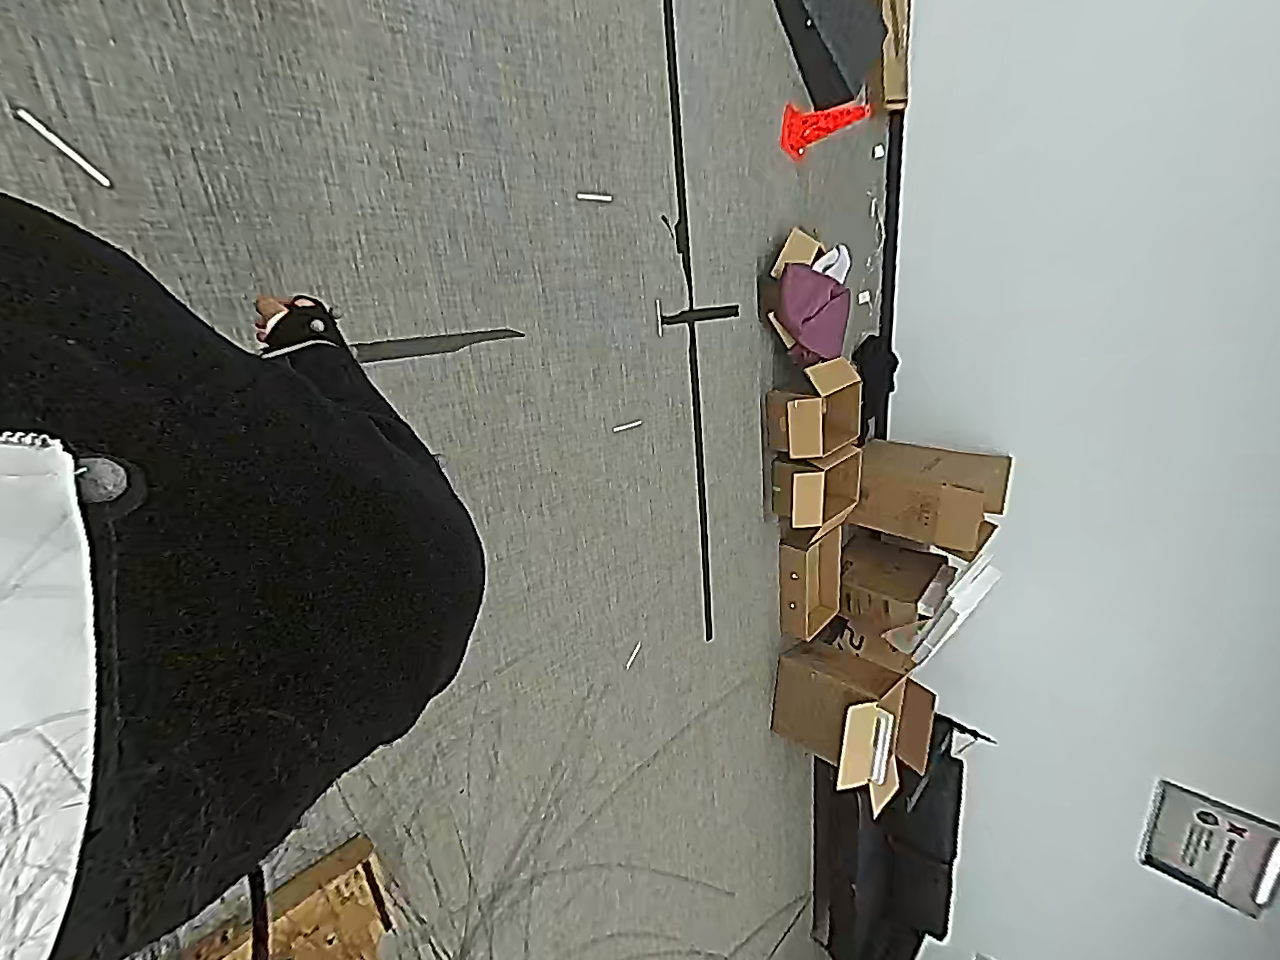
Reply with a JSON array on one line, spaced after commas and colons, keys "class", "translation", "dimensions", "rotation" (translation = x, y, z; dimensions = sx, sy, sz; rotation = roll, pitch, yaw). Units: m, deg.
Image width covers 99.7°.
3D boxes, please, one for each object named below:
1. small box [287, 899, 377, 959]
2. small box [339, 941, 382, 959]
[{"class": "small box", "translation": [-0.811, 1.273, 1.438], "dimensions": [0.168, 0.176, 0.179], "rotation": [-20, 114, -41]}, {"class": "small box", "translation": [-0.694, 1.301, 1.327], "dimensions": [0.168, 0.176, 0.179], "rotation": [-28, 119, -38]}]
